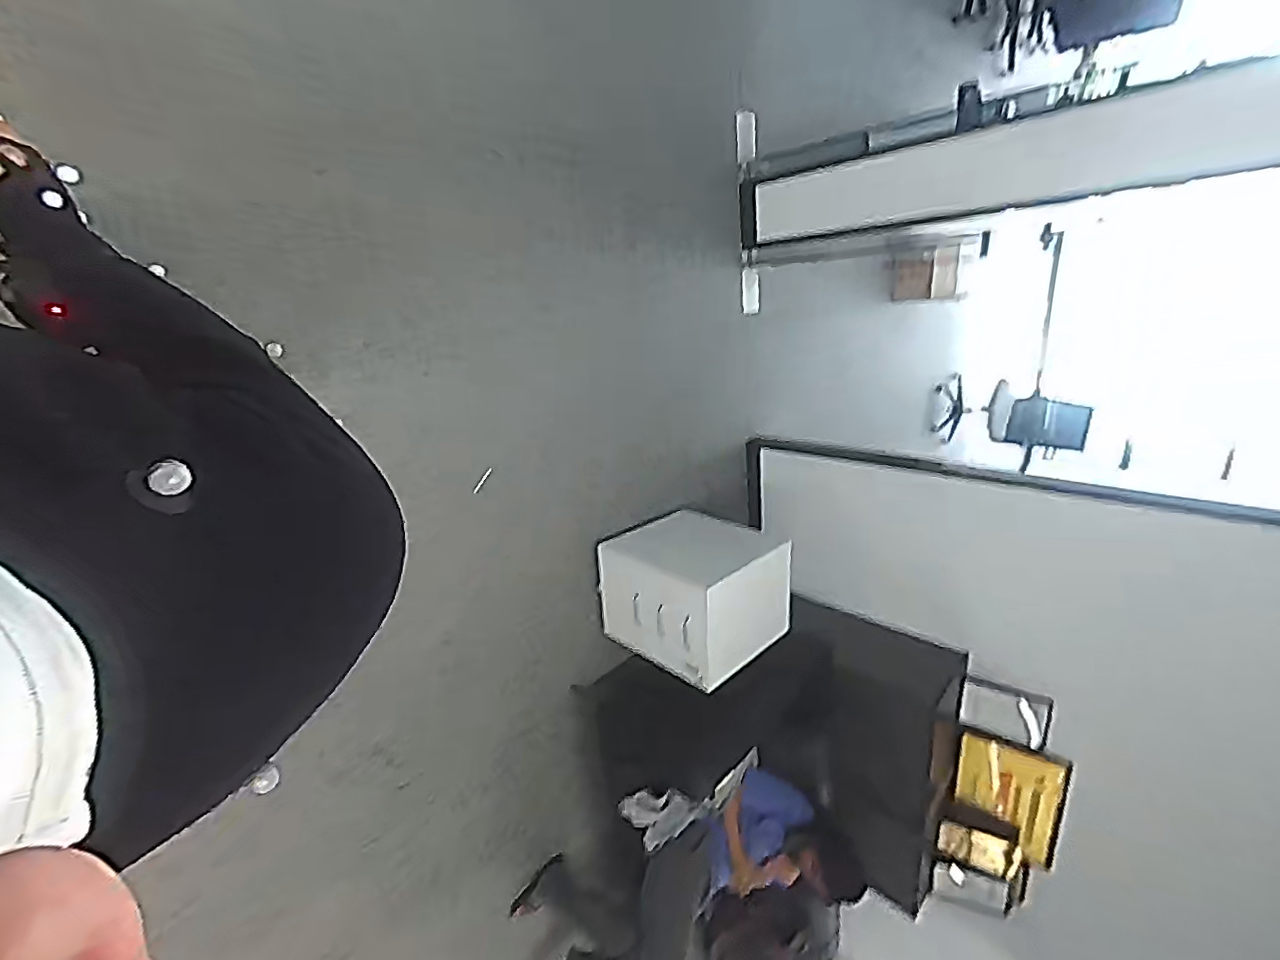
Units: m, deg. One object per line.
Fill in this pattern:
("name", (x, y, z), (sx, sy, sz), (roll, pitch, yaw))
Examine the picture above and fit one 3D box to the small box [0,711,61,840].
("small box", (-1.270, 0.588, 1.042), (0.179, 0.176, 0.168), (-21, 115, -41))
